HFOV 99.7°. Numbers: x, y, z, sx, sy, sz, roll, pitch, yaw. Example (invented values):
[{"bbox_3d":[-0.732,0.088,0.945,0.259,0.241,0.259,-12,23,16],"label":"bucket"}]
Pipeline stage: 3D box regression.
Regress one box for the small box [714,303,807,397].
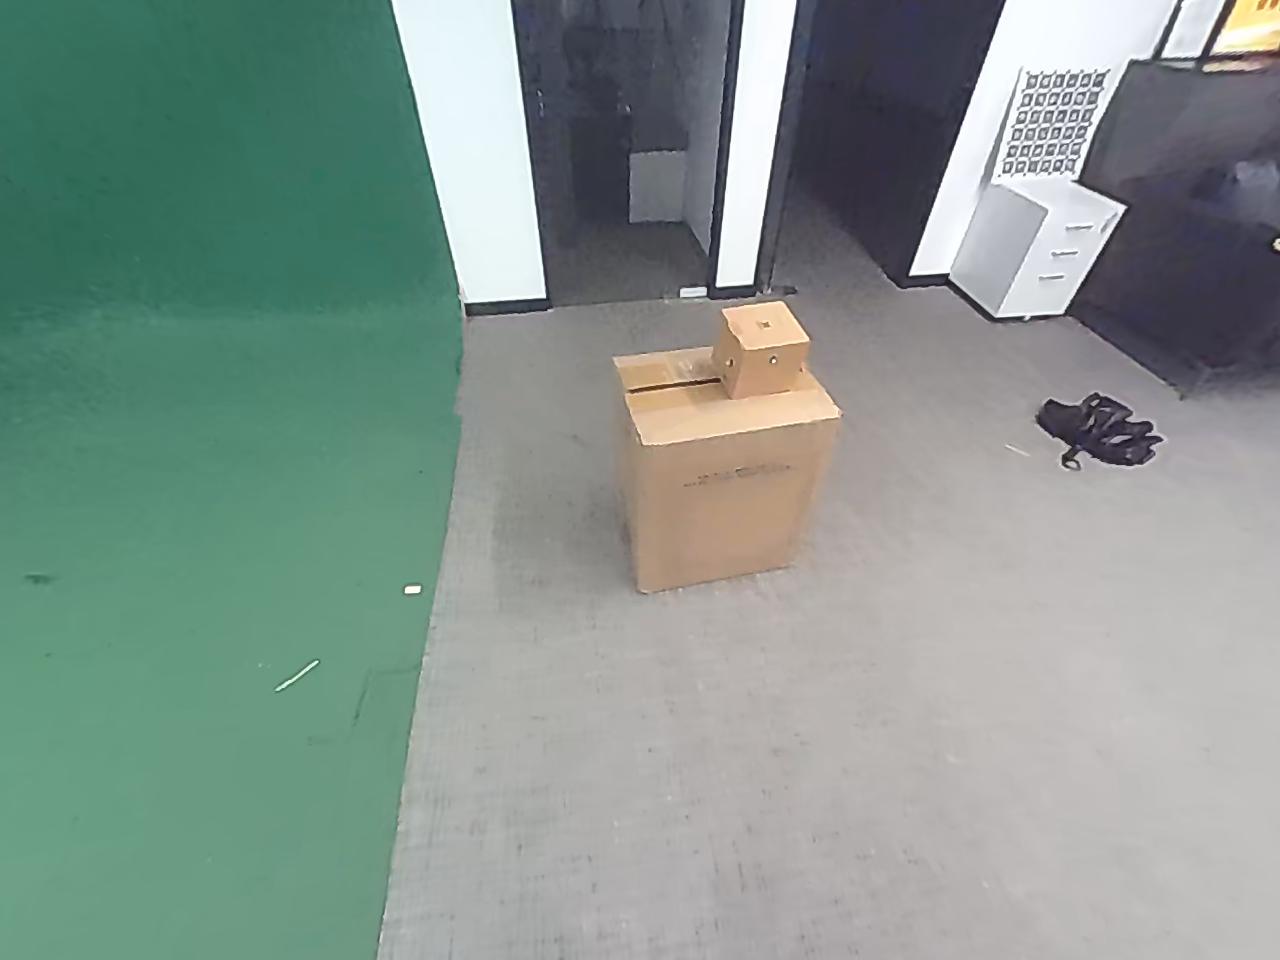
[{"bbox_3d":[0.302,-0.334,1.409,0.179,0.176,0.168,-11,55,-13],"label":"small box"}]
